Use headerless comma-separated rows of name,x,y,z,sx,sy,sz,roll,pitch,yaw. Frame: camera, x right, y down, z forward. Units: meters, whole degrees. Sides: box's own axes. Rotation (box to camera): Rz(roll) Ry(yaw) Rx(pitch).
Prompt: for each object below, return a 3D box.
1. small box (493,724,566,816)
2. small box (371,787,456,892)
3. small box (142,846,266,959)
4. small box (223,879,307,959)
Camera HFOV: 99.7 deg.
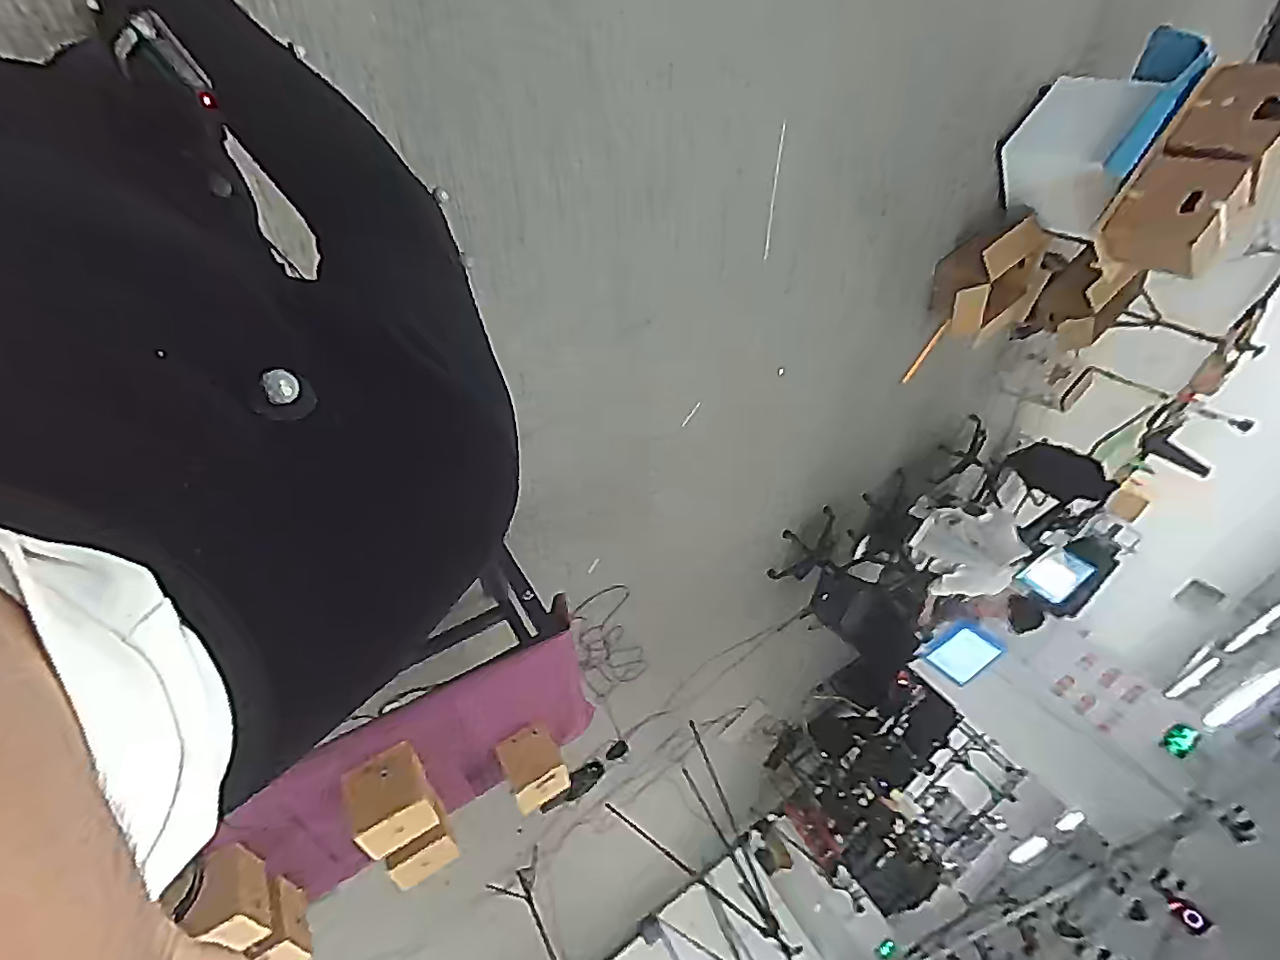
small box,-0.349,0.906,1.705,0.168,0.176,0.179,-22,136,-24
small box,-0.650,1.025,1.553,0.168,0.176,0.179,-22,134,-26
small box,-0.978,0.974,1.220,0.168,0.176,0.179,-22,136,-27
small box,-0.986,1.175,1.388,0.168,0.176,0.179,-23,135,-25
